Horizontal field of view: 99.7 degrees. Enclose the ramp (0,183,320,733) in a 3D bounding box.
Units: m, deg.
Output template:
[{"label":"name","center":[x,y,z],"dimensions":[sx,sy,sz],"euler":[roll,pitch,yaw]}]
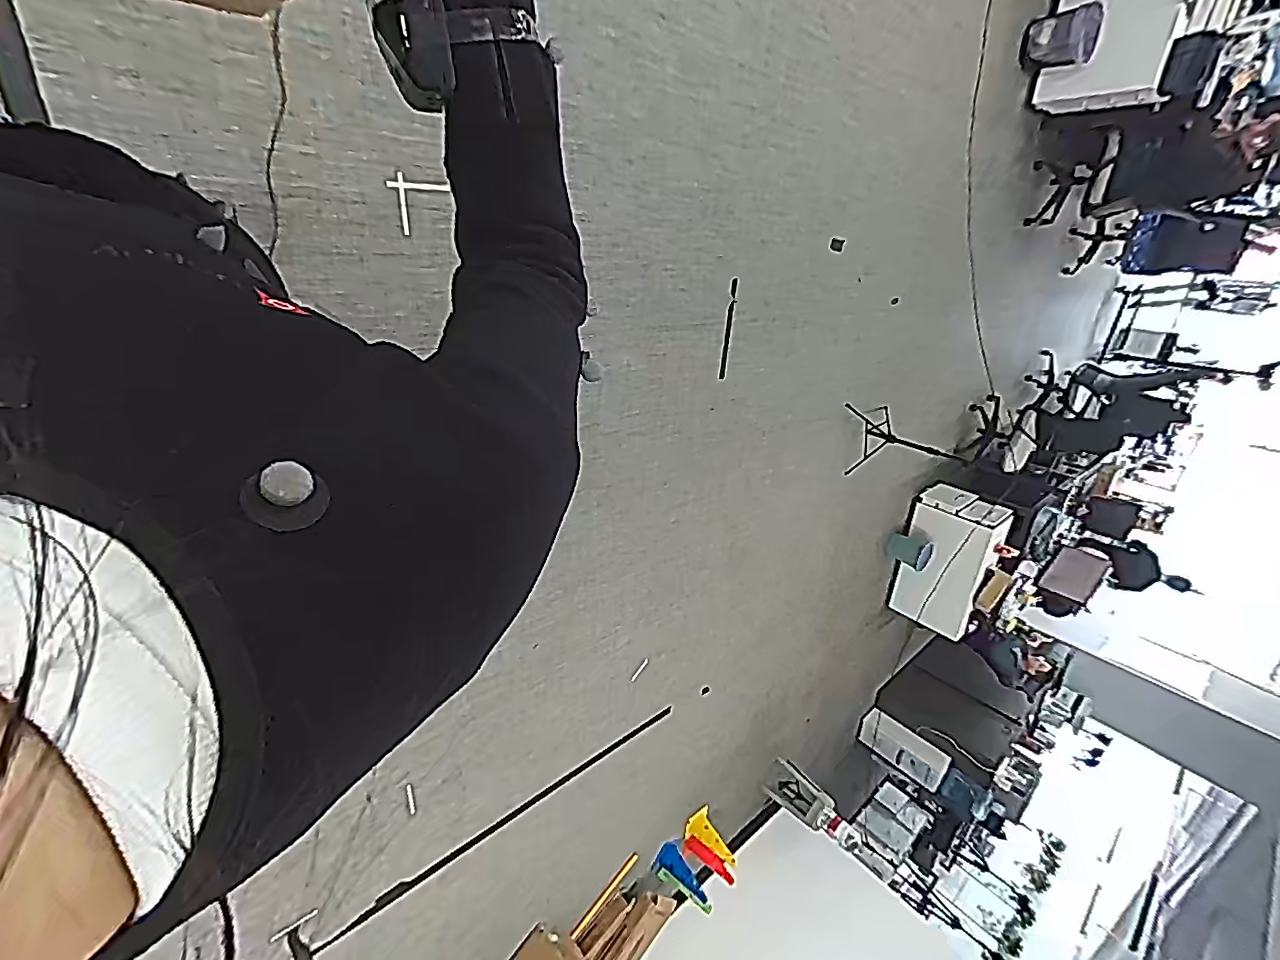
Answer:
[{"label":"ramp","center":[-1.004,-0.033,1.079],"dimensions":[0.509,0.206,0.991],"euler":[-15,119,-37]}]
